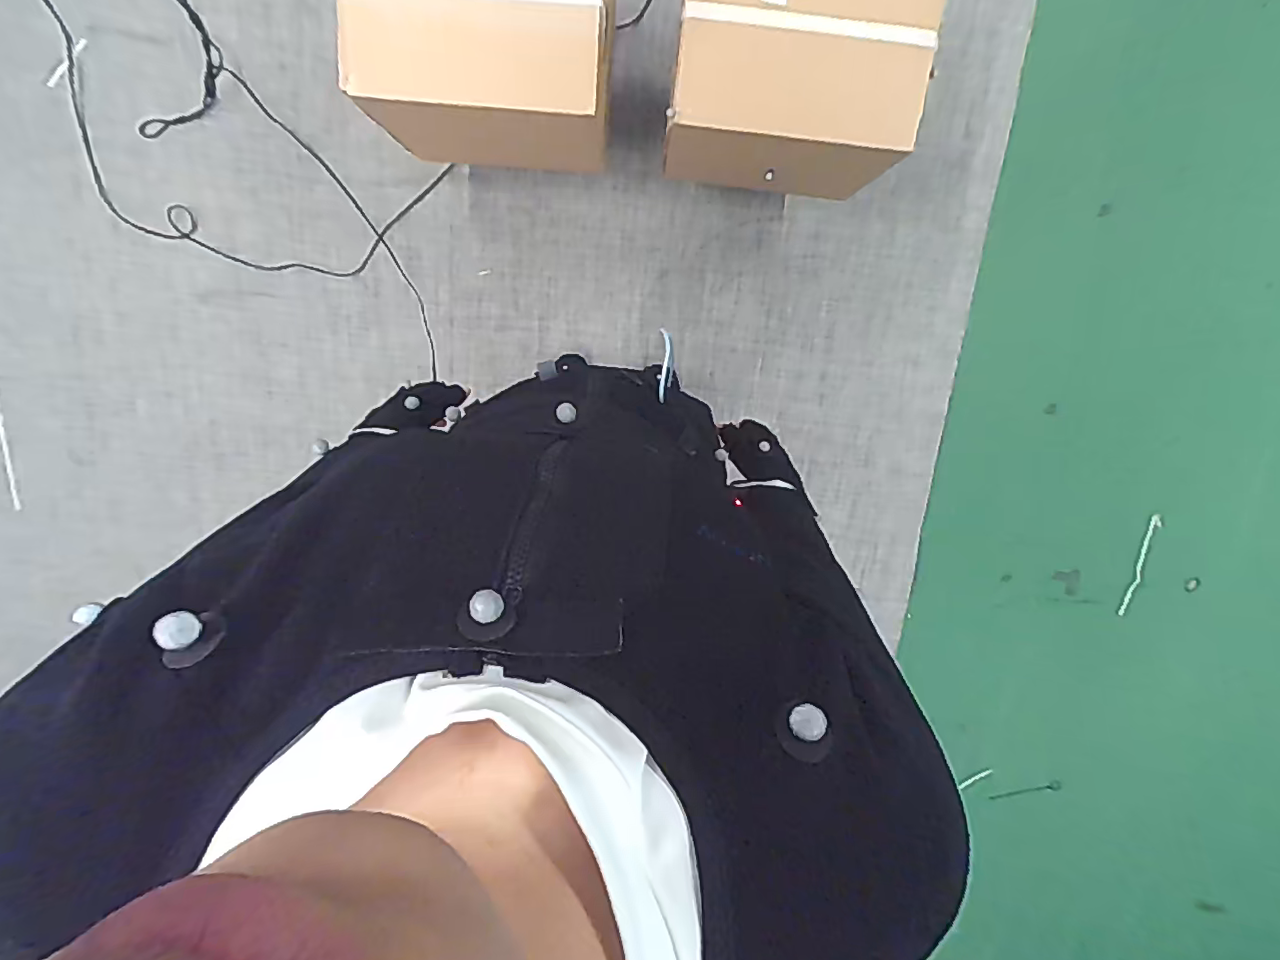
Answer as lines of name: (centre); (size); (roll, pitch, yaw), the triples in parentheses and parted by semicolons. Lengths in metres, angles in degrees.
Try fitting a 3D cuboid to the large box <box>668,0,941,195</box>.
large box: (0.274, -0.753, 1.009); (0.408, 0.320, 0.320); (6, 104, -2)
